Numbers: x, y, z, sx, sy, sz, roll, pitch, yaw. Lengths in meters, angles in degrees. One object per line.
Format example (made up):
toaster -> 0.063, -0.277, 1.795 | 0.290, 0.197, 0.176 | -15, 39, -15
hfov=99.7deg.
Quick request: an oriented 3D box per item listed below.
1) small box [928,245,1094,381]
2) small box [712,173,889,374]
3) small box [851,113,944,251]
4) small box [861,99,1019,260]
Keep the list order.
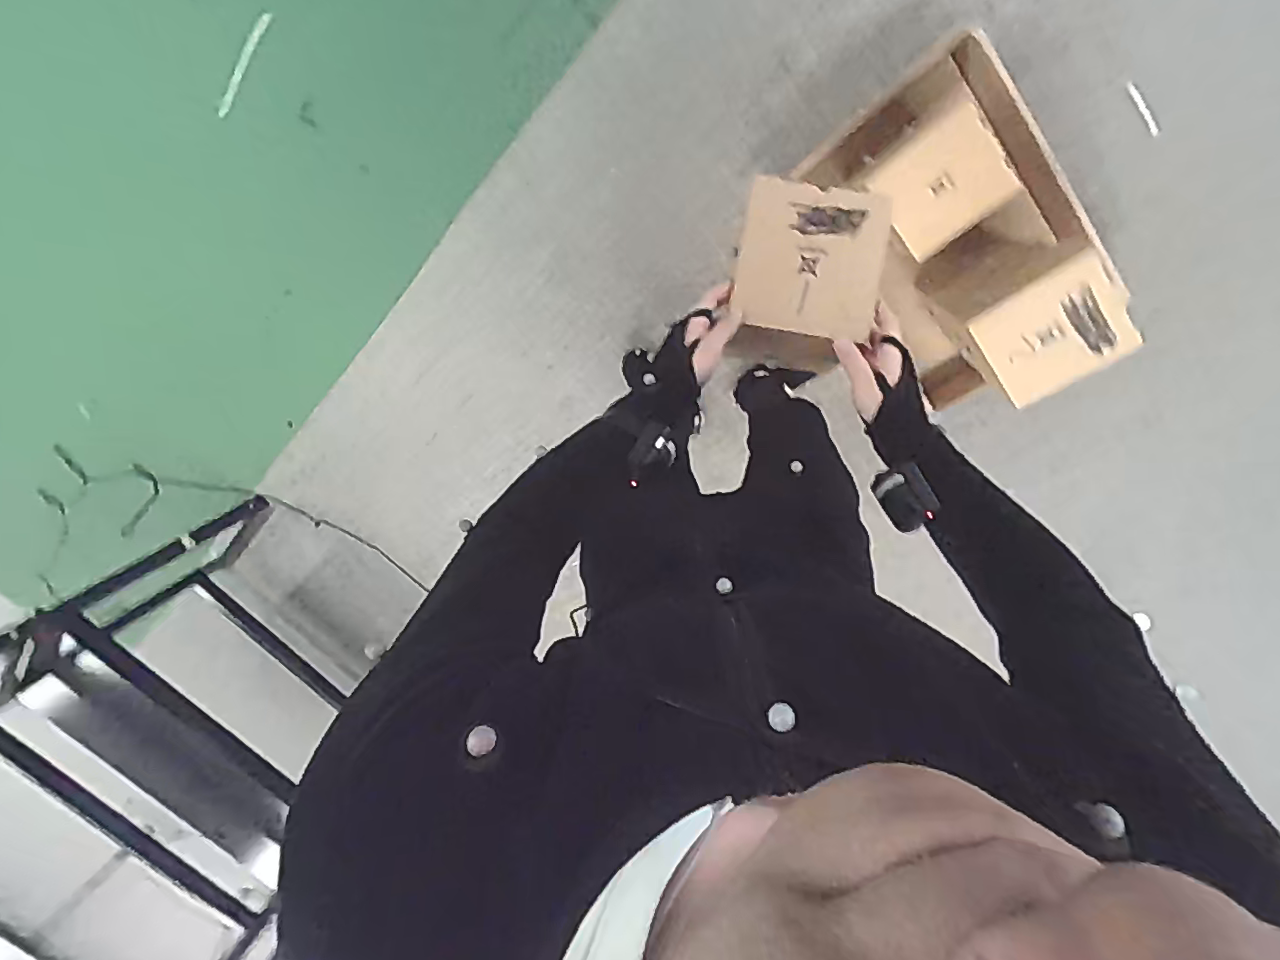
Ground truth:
small box -> 0.674, -0.316, 1.006 | 0.179, 0.176, 0.168 | -34, 101, 26
small box -> 0.191, -0.250, 0.692 | 0.168, 0.176, 0.179 | 10, 90, 3
small box -> 0.544, -0.590, 1.089 | 0.179, 0.176, 0.168 | -34, 104, 27
small box -> 0.509, -0.515, 0.950 | 0.179, 0.176, 0.168 | -36, 103, 27
